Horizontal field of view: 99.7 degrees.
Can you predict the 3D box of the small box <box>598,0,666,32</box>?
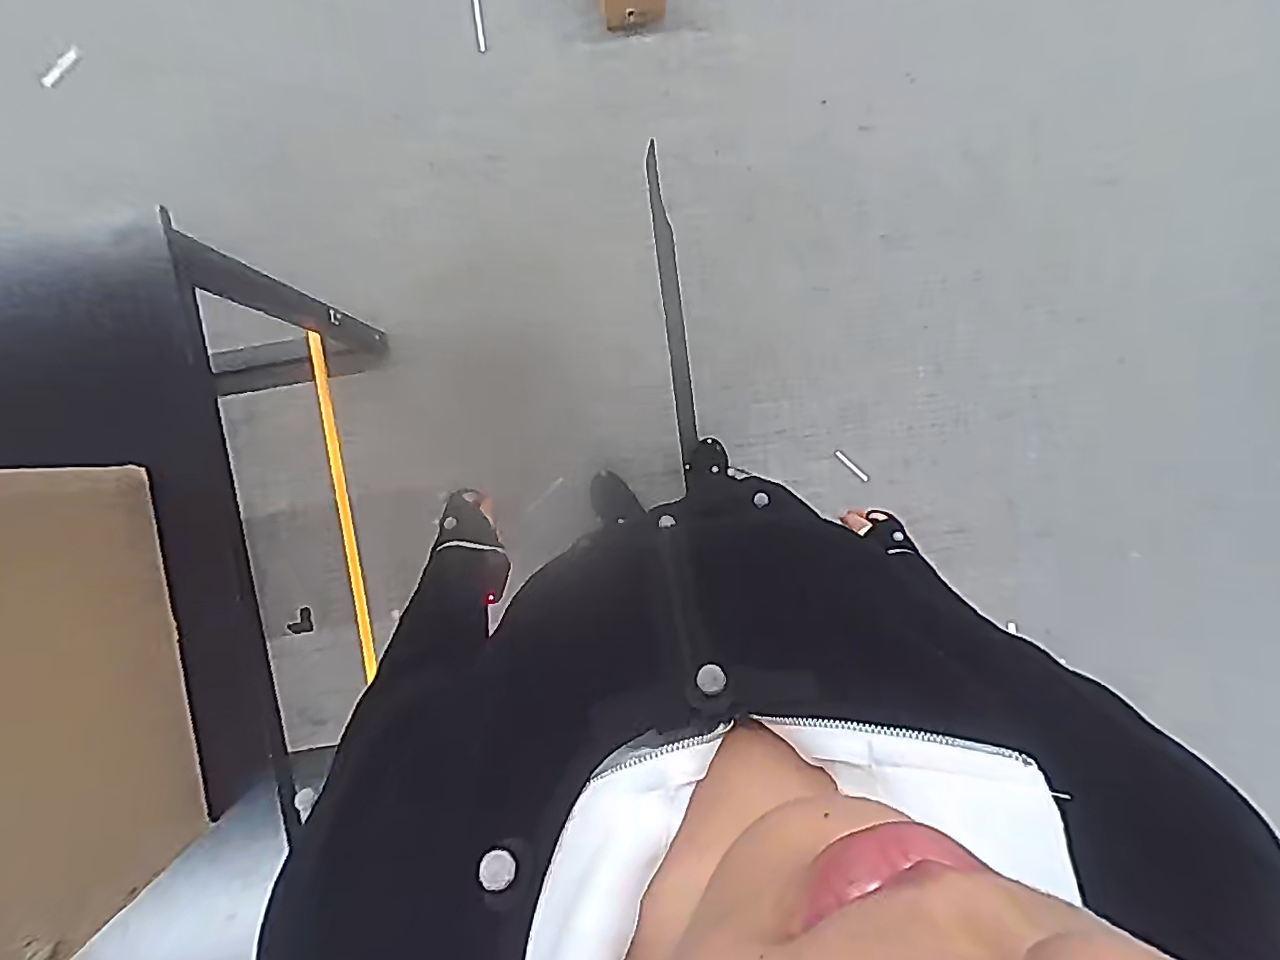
[{"bbox_3d":[-0.030,-1.287,1.355,0.168,0.176,0.179,-13,94,0],"label":"small box"}]
